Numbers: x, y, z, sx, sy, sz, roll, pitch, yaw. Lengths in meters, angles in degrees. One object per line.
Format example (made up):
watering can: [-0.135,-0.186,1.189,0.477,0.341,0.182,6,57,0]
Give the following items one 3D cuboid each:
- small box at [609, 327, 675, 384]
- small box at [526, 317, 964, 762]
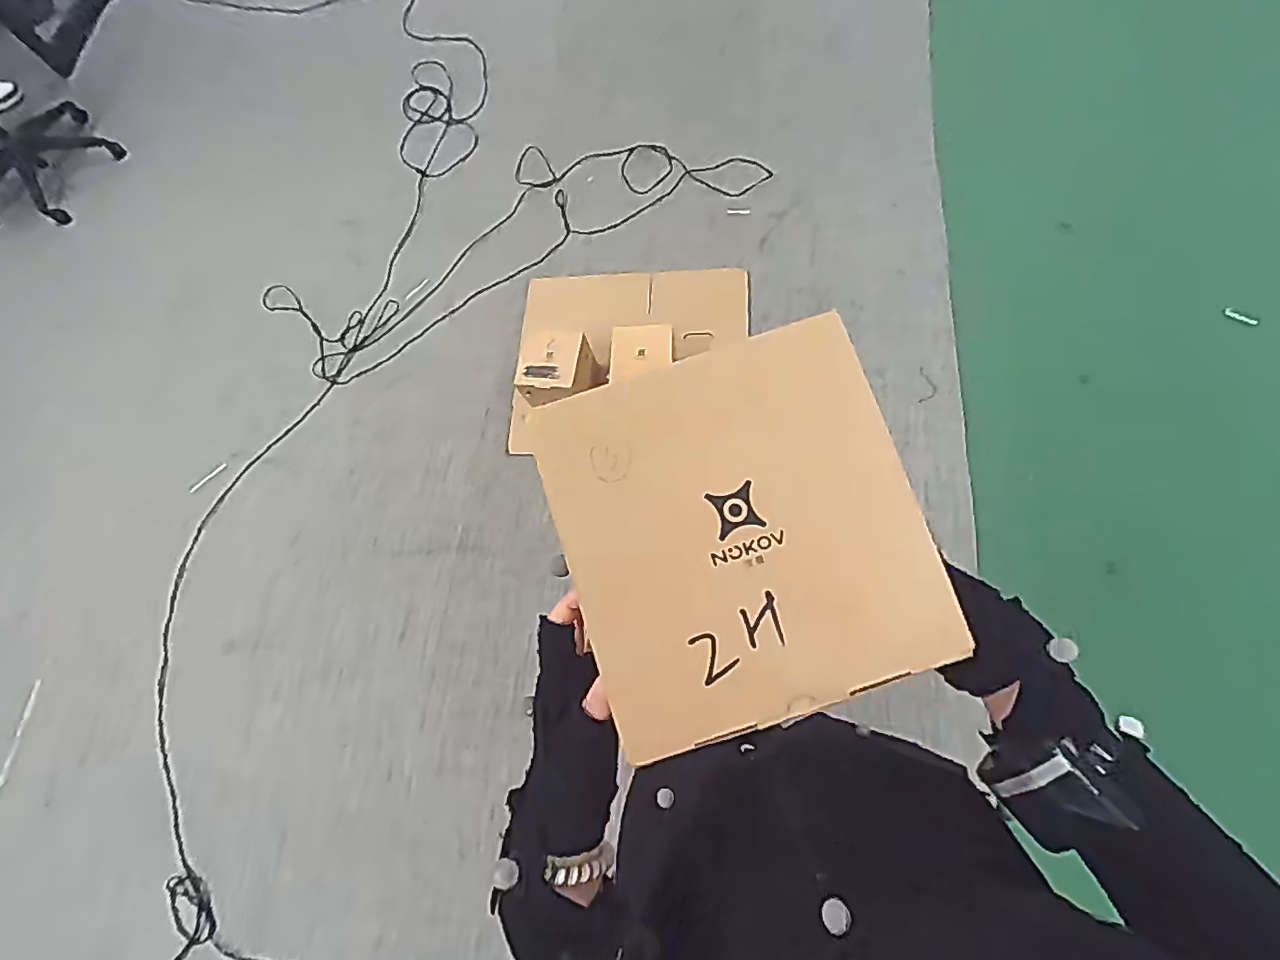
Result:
small box: [0.012,-0.302,1.498,0.168,0.176,0.179,-1,72,7]
small box: [0.047,0.034,0.334,0.168,0.176,0.179,-18,82,0]
